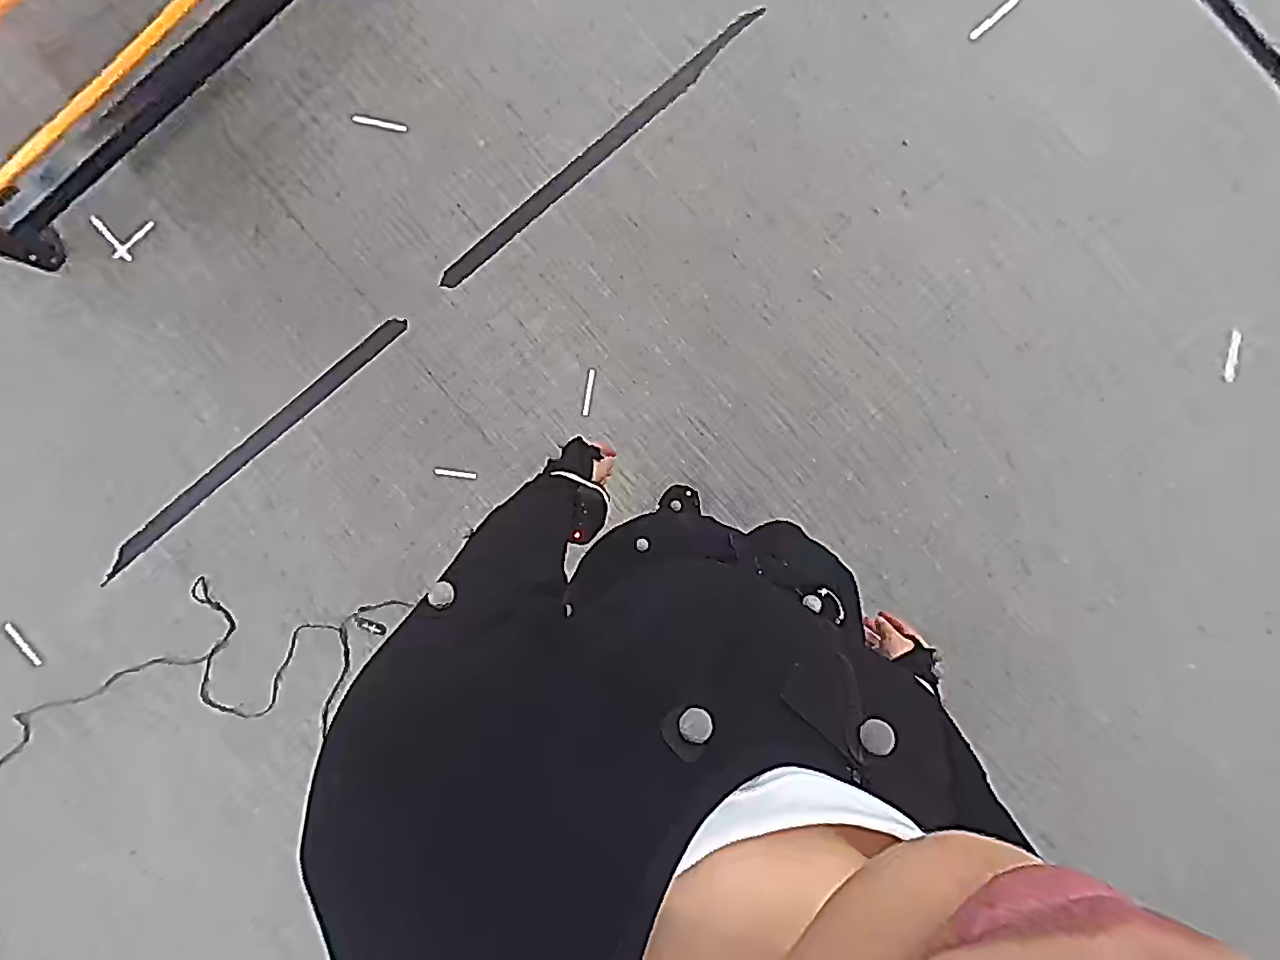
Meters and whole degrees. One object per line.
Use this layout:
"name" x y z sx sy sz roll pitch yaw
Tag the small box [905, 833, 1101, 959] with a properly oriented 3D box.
"small box" 0.537 0.675 0.791 0.168 0.176 0.179 -43 88 -1
